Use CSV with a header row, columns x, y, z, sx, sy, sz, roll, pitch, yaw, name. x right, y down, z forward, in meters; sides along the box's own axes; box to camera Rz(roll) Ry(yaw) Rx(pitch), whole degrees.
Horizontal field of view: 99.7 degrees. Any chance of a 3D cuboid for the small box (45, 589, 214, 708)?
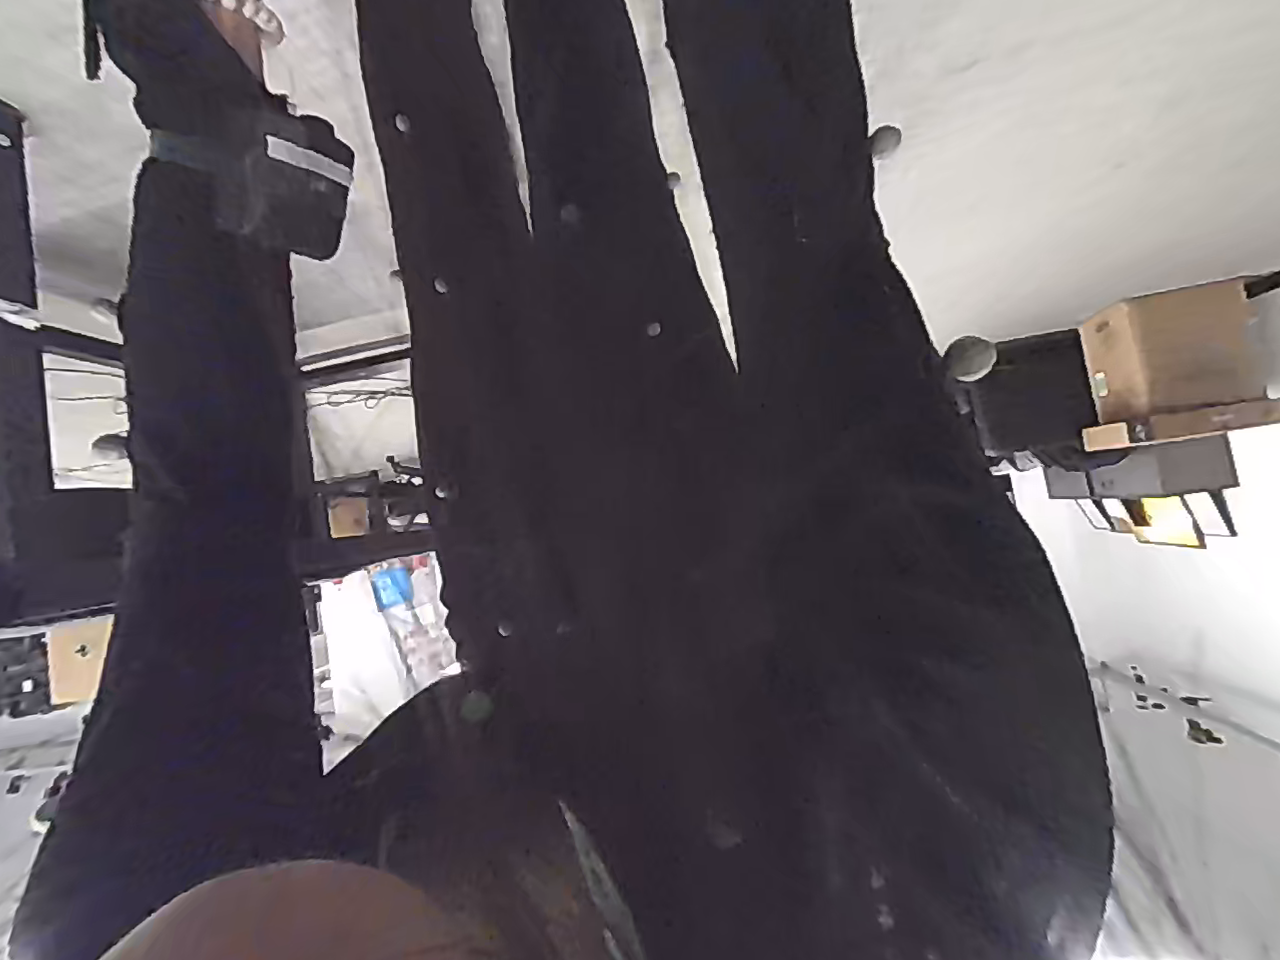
x,y,z,sx,sy,sz,roll,pitch,yaw,name
-0.973,0.314,1.035,0.168,0.176,0.179,-9,176,10,small box
